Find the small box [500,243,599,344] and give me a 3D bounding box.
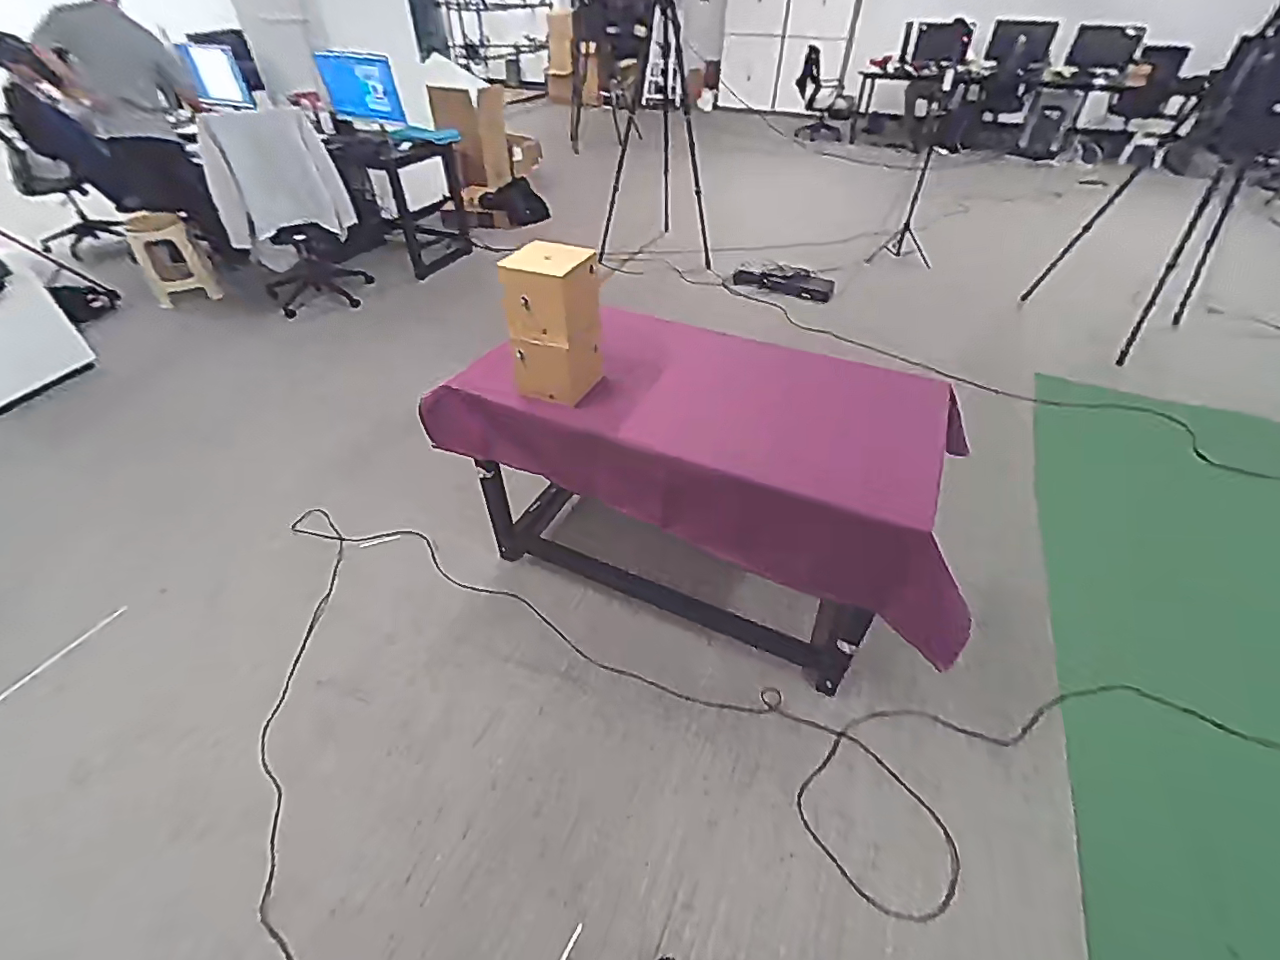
[{"bbox_3d":[-0.201,-0.438,1.273,0.168,0.176,0.179,15,43,16],"label":"small box"}]
